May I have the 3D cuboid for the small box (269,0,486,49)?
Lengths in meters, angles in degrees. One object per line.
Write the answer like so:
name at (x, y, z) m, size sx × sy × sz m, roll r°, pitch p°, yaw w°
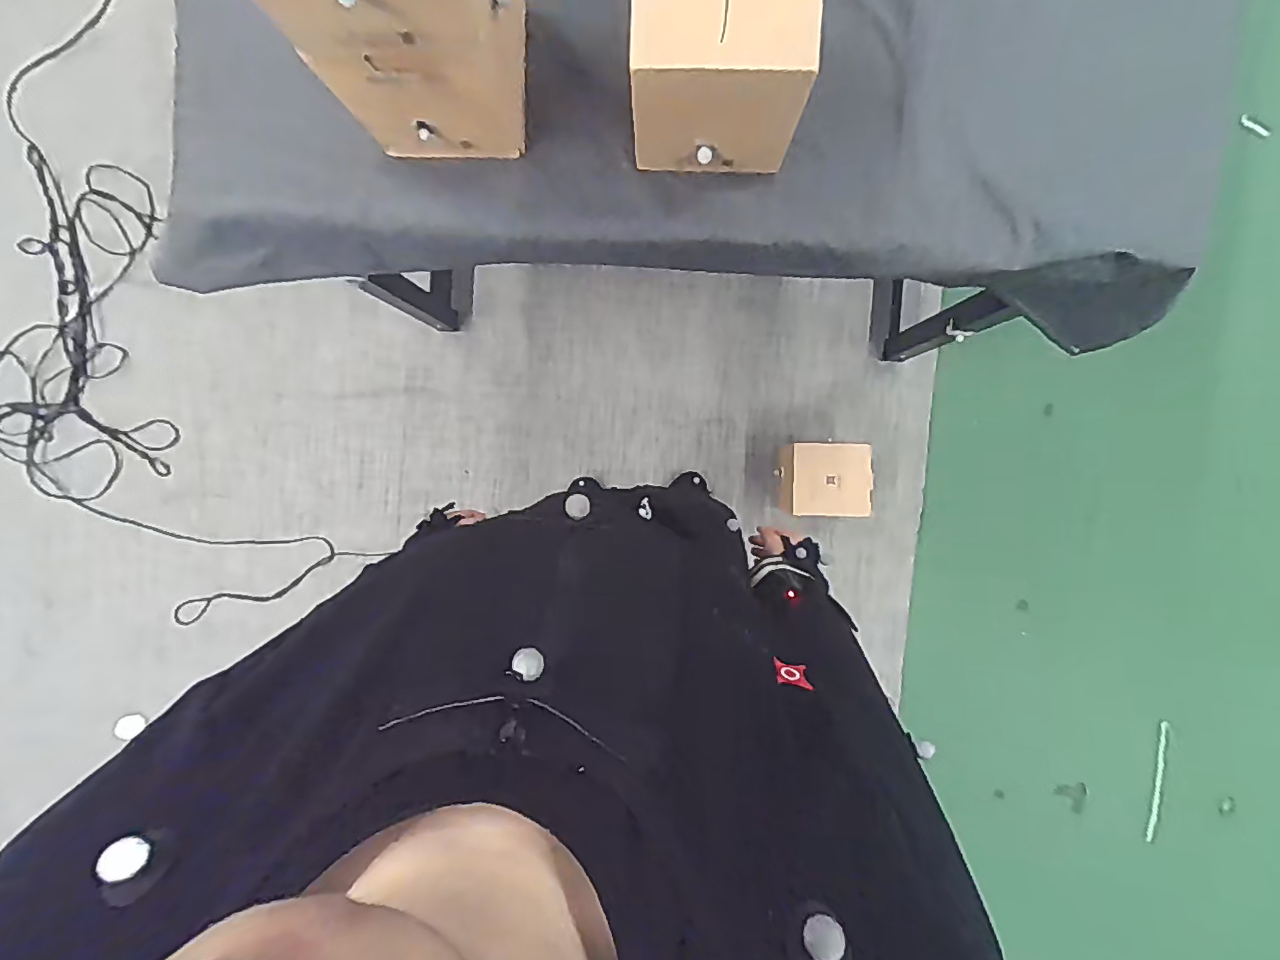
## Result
small box at (-0.217, -0.456, 0.394) m, size 0.168 × 0.176 × 0.179 m, roll 0°, pitch 93°, yaw 2°

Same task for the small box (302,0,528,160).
small box at (-0.216, -0.466, 0.557) m, size 0.168 × 0.176 × 0.179 m, roll 1°, pitch 93°, yaw 2°

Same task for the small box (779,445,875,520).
small box at (0.435, 0.003, 1.281) m, size 0.179 × 0.176 × 0.168 m, roll 1°, pitch 92°, yaw 4°

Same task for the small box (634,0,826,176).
small box at (0.082, -0.441, 0.544) m, size 0.168 × 0.176 × 0.179 m, roll 3°, pitch 92°, yaw 2°
